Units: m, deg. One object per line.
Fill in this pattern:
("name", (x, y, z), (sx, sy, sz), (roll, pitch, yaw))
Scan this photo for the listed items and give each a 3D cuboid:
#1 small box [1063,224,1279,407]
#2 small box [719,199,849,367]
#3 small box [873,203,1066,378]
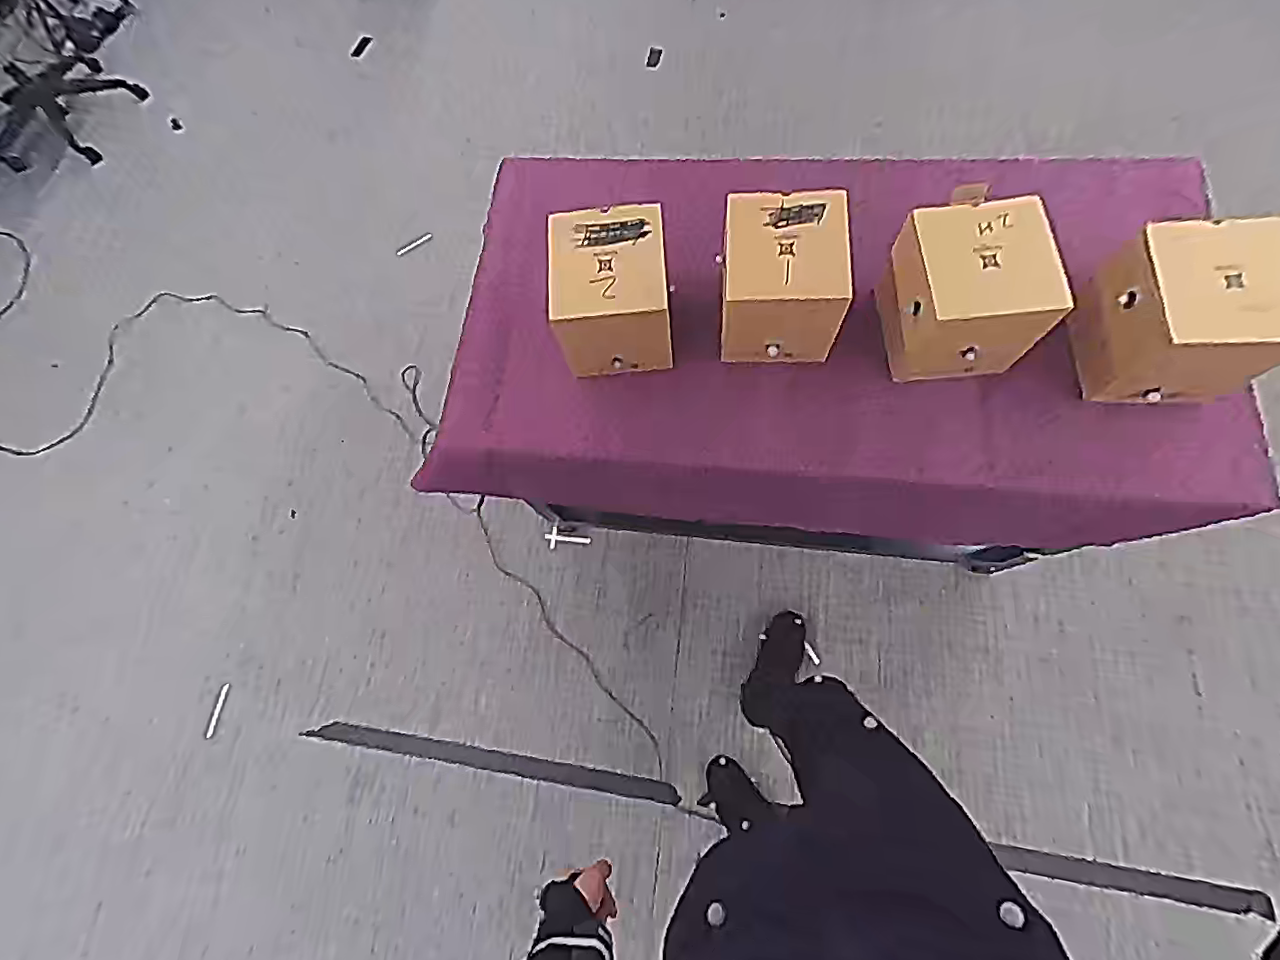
("small box", (0.720, -0.216, 0.736), (0.168, 0.176, 0.179), (1, 72, 8))
("small box", (0.206, -0.290, 0.818), (0.168, 0.176, 0.179), (1, 73, 7))
("small box", (0.455, -0.259, 0.779), (0.168, 0.176, 0.179), (-4, 71, 5))
